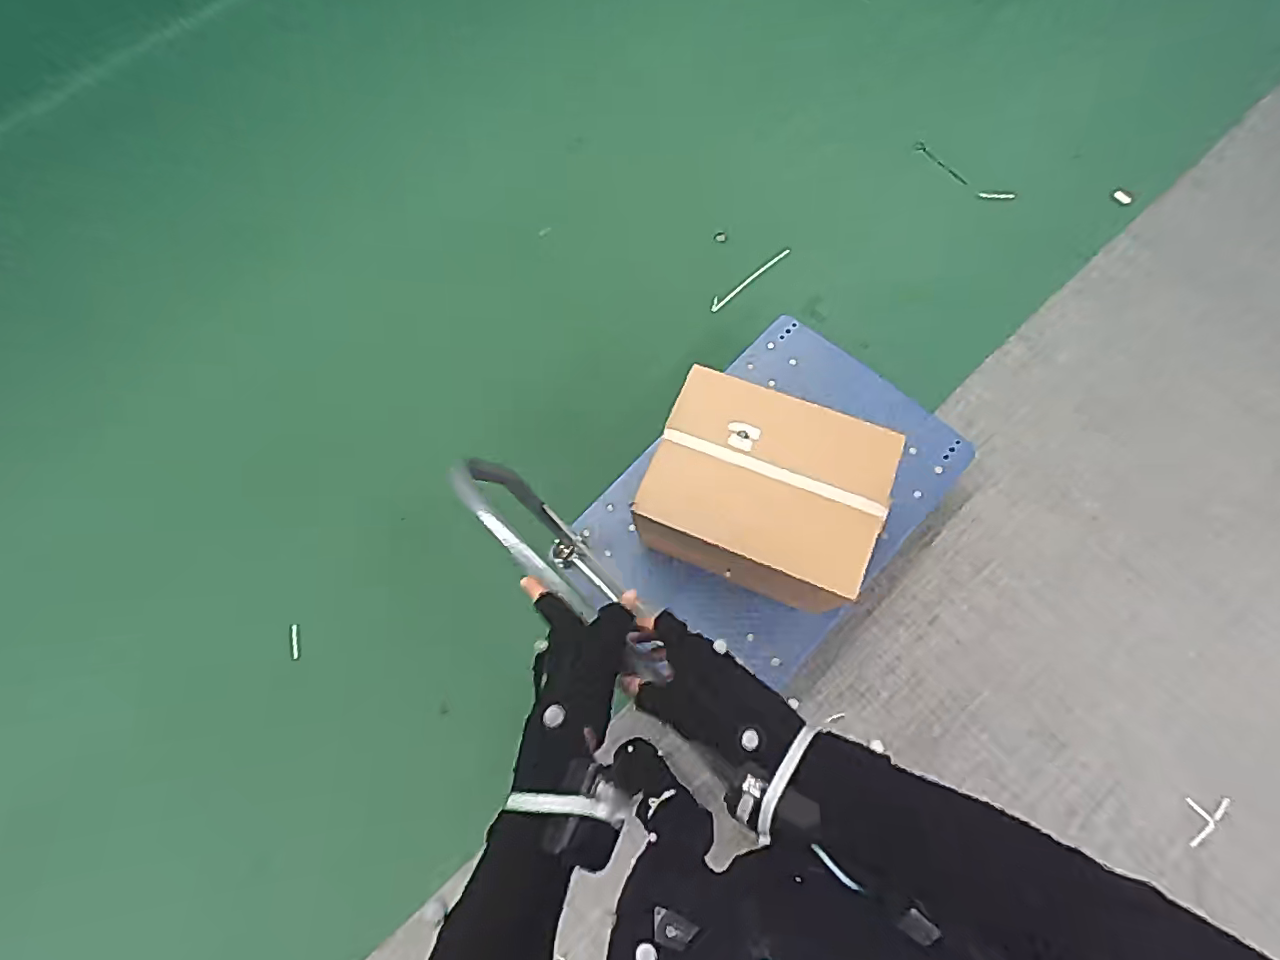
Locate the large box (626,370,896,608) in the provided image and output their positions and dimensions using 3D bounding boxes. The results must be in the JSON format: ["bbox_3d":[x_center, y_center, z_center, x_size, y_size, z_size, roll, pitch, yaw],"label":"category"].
[{"bbox_3d":[0.229,0.035,1.096,0.408,0.320,0.320,22,75,12],"label":"large box"}]
